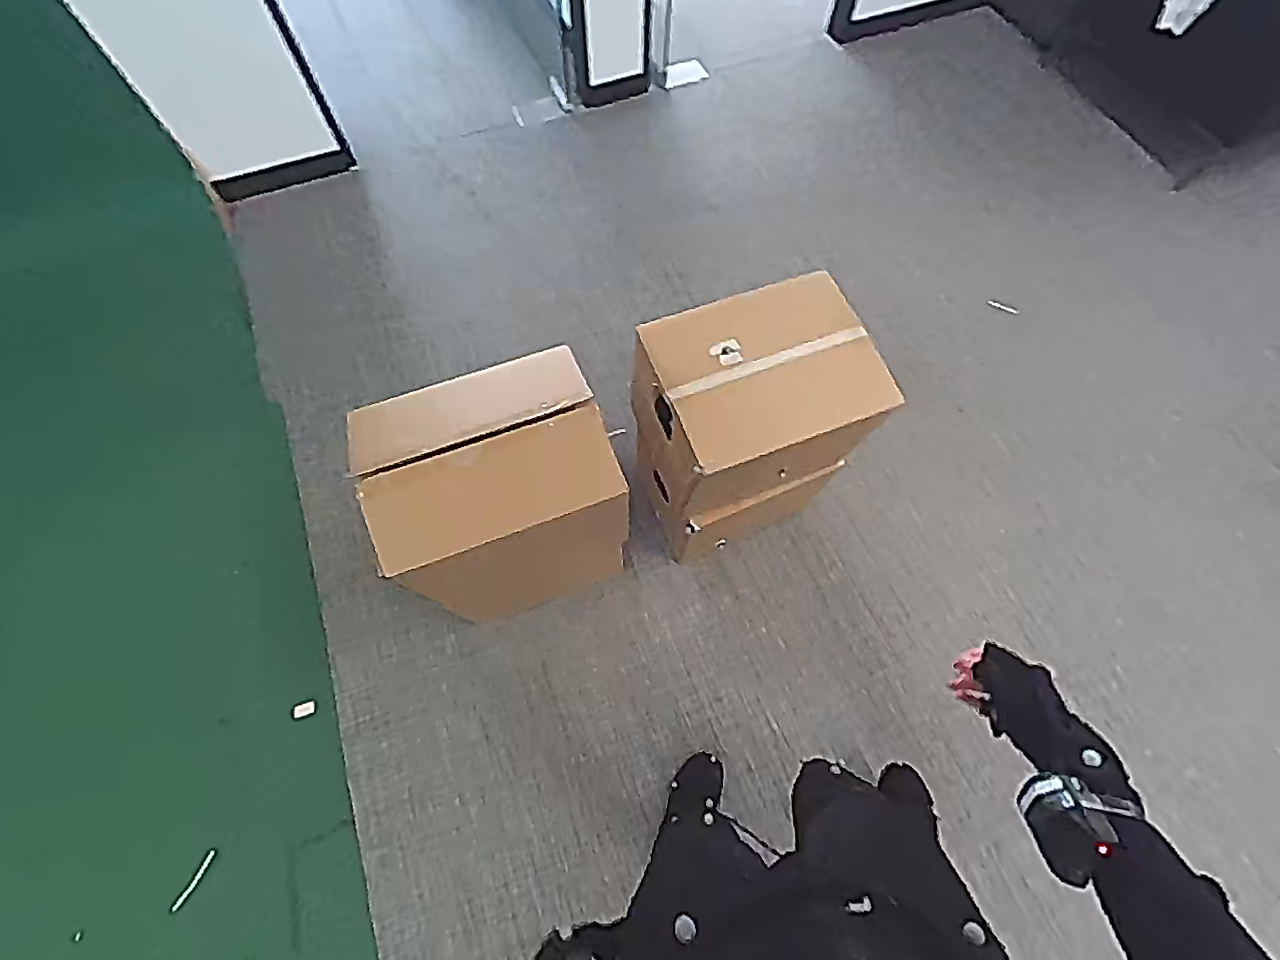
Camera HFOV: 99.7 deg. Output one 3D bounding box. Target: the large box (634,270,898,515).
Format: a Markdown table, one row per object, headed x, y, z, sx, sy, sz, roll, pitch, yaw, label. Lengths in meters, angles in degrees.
| x | y | z | sx | sy | sz | roll | pitch | yaw | label |
| --- | --- | --- | --- | --- | --- | --- | --- | --- | --- |
| 0.226 | -0.163 | 1.125 | 0.408 | 0.320 | 0.320 | -20 | 73 | -8 | large box |
